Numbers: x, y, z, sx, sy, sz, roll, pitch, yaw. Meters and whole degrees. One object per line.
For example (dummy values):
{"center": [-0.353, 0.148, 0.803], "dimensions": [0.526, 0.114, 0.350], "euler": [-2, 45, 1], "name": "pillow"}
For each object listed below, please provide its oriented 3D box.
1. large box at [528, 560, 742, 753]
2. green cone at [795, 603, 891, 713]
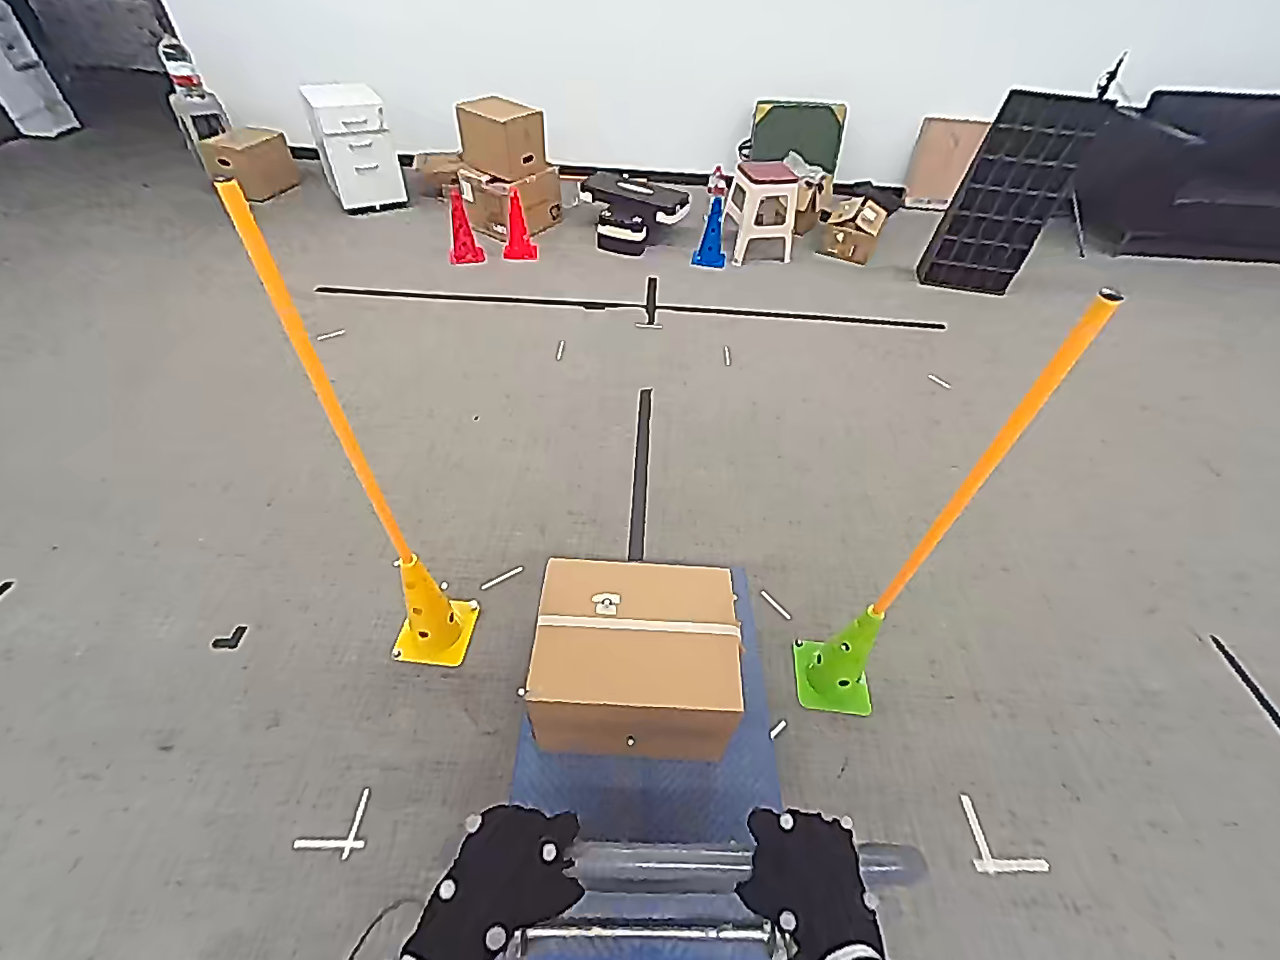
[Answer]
{"center": [-0.009, 0.398, 1.203], "dimensions": [0.408, 0.320, 0.320], "euler": [3, 47, 0], "name": "large box"}
{"center": [0.557, 0.435, 1.409], "dimensions": [0.202, 0.368, 0.200], "euler": [8, 47, 1], "name": "green cone"}
